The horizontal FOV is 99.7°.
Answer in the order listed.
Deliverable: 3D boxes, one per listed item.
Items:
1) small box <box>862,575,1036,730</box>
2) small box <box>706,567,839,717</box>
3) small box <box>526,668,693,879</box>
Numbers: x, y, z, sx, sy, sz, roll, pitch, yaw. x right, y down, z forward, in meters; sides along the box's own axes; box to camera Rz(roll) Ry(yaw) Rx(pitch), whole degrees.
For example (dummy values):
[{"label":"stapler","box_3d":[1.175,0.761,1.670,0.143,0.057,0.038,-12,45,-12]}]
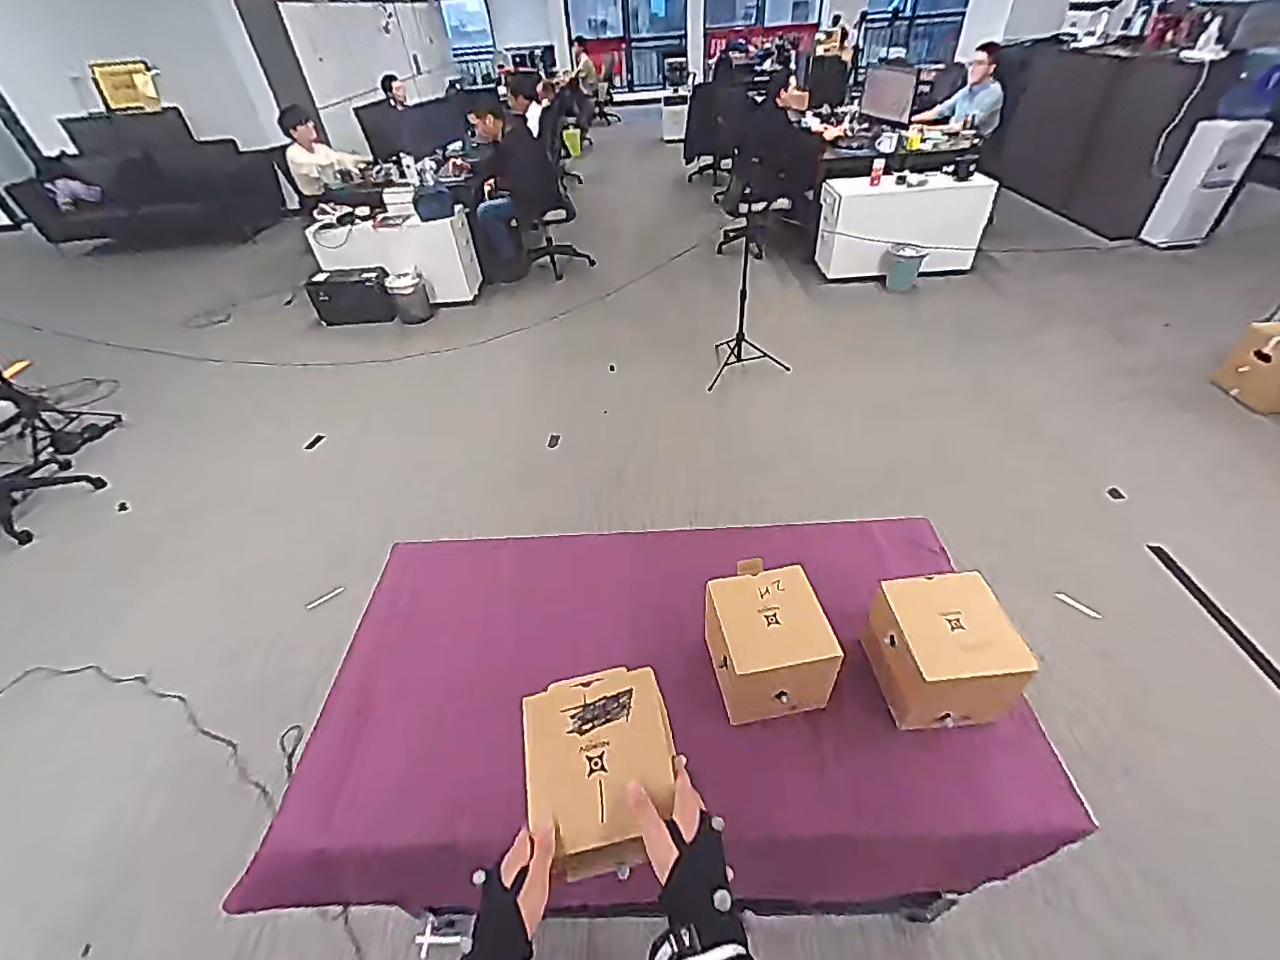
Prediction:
[{"label":"small box","box_3d":[0.482,0.280,0.880,0.168,0.176,0.179,-6,41,1]},{"label":"small box","box_3d":[0.211,0.277,0.910,0.168,0.176,0.179,-9,41,-4]},{"label":"small box","box_3d":[-0.037,0.365,0.671,0.168,0.176,0.179,-14,48,-1]}]
